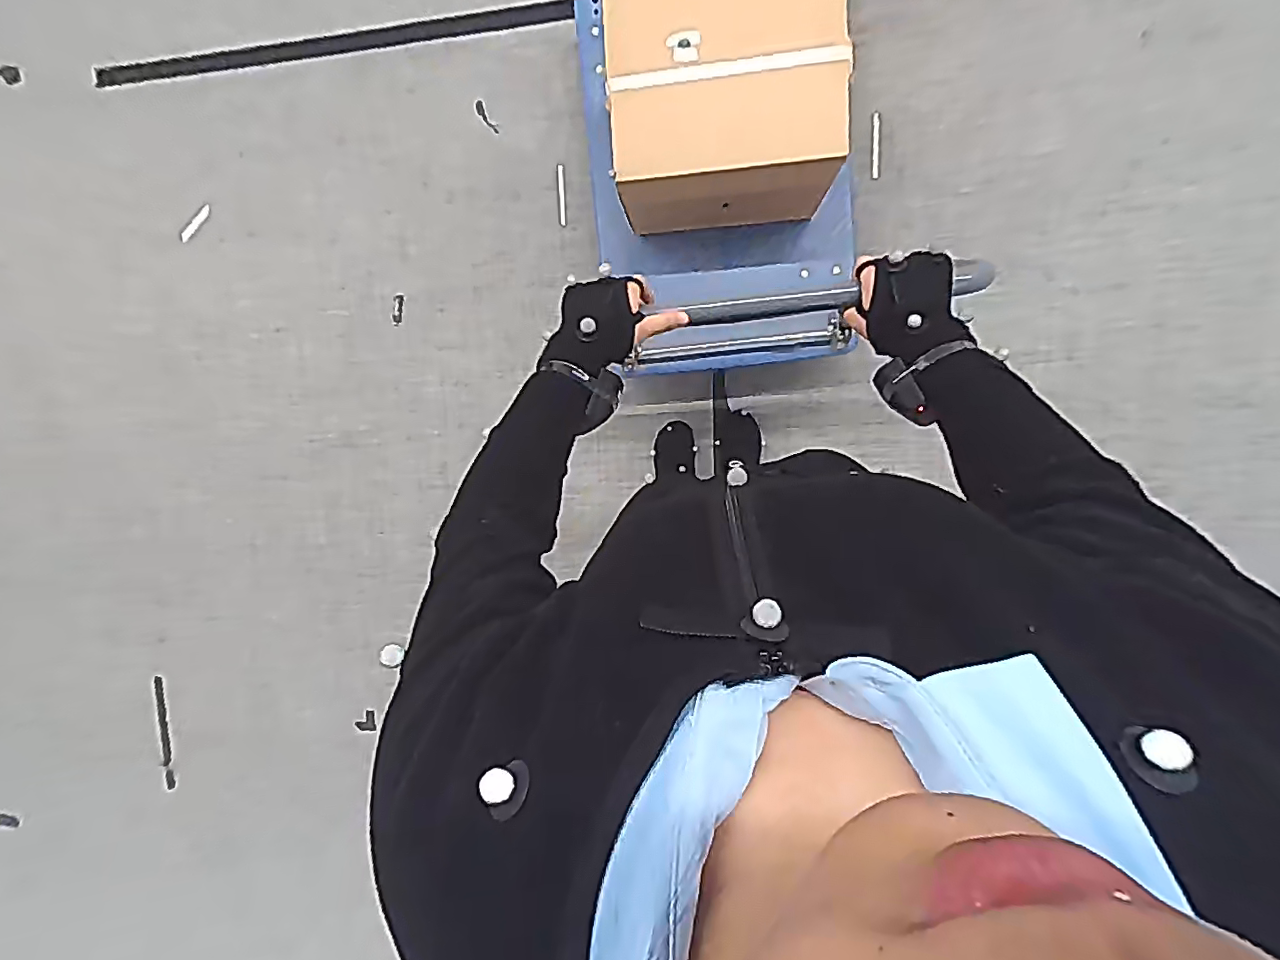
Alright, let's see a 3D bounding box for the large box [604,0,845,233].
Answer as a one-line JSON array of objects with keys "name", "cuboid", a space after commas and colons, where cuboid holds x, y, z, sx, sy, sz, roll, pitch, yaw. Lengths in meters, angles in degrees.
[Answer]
[{"name": "large box", "cuboid": [0.163, -0.717, 1.079, 0.408, 0.320, 0.320, -3, 96, 7]}]
